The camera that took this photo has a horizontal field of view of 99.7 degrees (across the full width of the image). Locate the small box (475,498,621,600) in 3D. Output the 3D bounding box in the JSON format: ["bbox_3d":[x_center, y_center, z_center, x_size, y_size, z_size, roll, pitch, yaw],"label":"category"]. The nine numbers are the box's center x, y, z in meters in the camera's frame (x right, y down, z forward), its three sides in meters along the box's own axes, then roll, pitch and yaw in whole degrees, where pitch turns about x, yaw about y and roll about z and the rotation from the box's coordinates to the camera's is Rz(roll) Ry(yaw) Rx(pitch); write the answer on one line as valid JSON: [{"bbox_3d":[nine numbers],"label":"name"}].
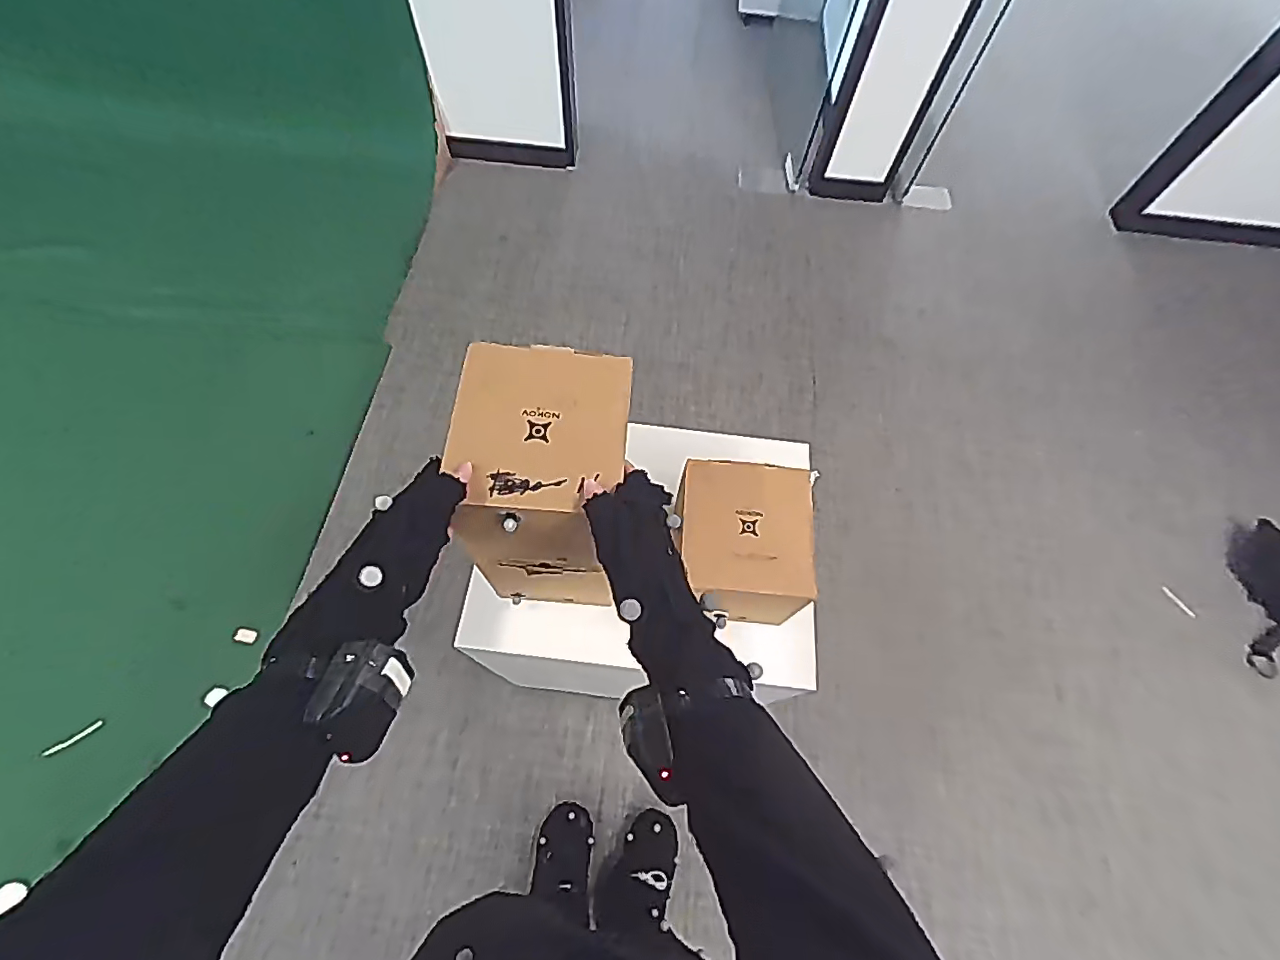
[{"bbox_3d":[-0.114,0.060,0.751,0.168,0.176,0.179,4,63,-1],"label":"small box"}]

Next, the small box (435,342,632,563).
[{"bbox_3d":[-0.101,-0.022,0.584,0.168,0.176,0.179,4,67,-2],"label":"small box"}]

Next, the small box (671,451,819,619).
[{"bbox_3d":[0.132,0.080,0.736,0.168,0.176,0.179,4,65,1],"label":"small box"}]
